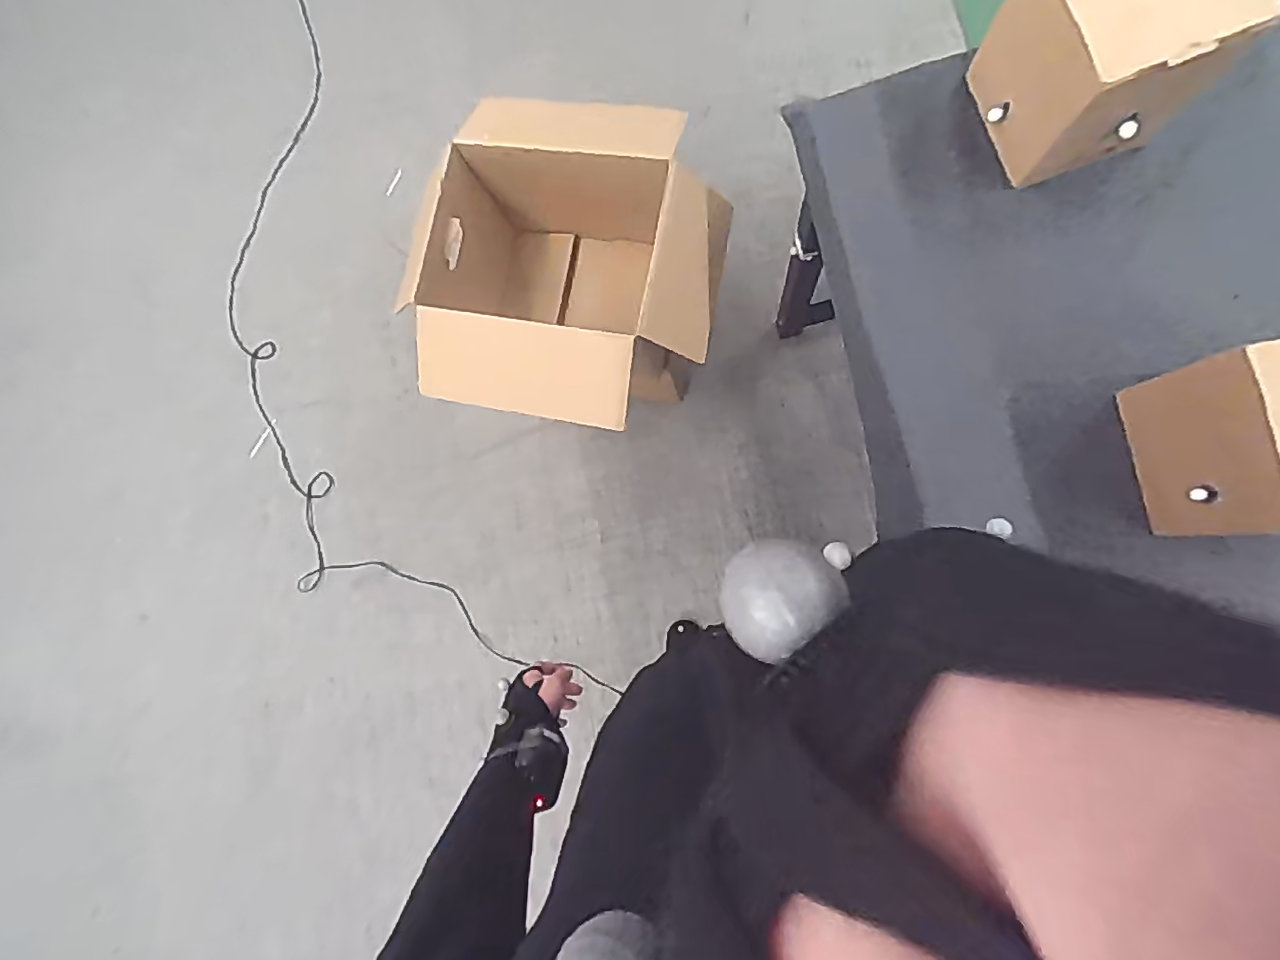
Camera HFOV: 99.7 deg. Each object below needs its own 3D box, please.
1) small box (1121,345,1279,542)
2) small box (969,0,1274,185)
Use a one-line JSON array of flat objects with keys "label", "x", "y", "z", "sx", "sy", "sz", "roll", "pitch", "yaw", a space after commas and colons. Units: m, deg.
[{"label": "small box", "x": 0.647, "y": -0.035, "z": 0.542, "sx": 0.168, "sy": 0.176, "sz": 0.179, "roll": -10, "pitch": 80, "yaw": 7}, {"label": "small box", "x": 0.517, "y": -0.473, "z": 0.615, "sx": 0.168, "sy": 0.176, "sz": 0.179, "roll": -18, "pitch": 82, "yaw": 7}]
